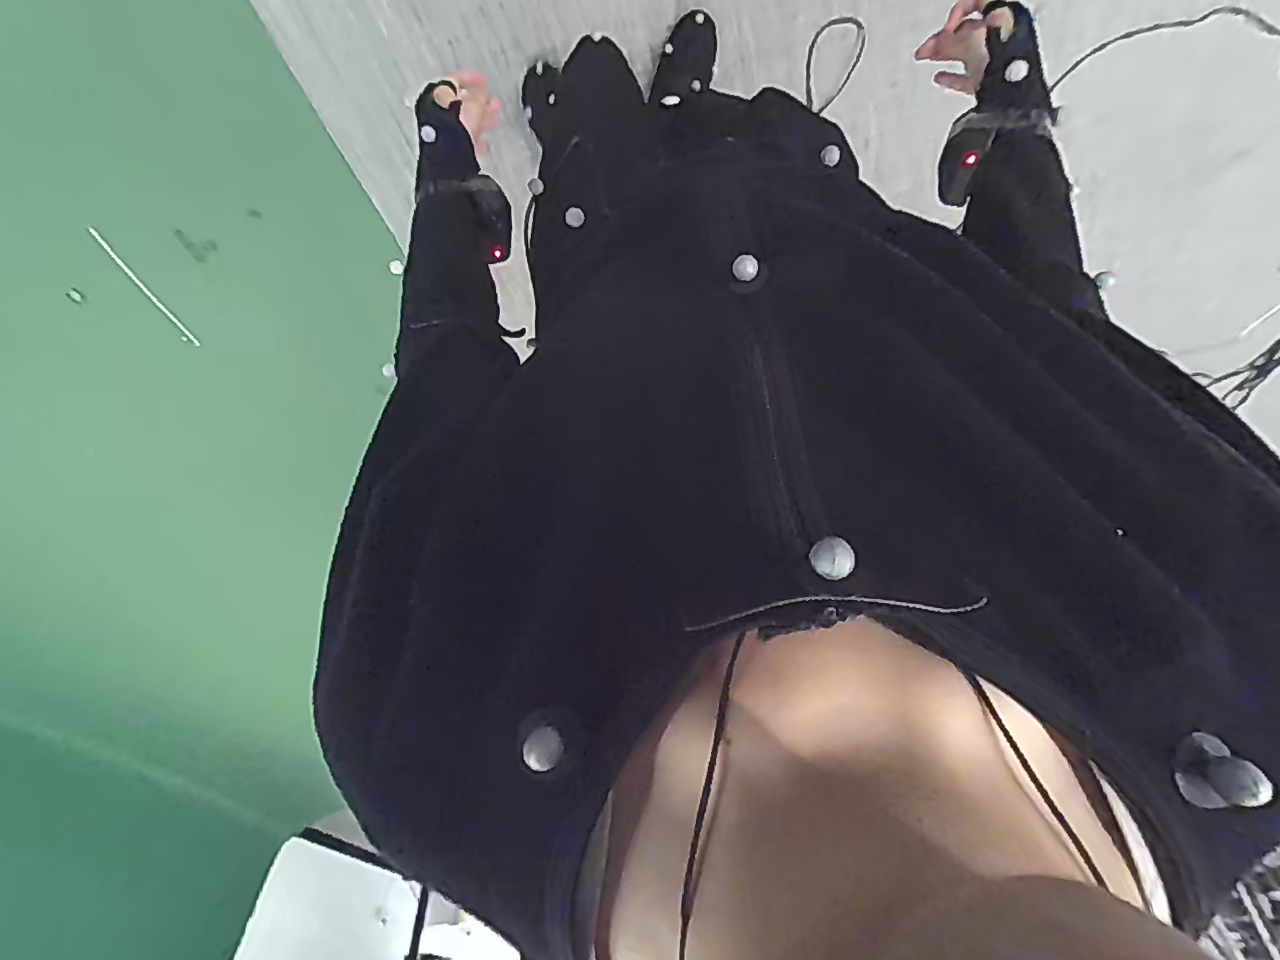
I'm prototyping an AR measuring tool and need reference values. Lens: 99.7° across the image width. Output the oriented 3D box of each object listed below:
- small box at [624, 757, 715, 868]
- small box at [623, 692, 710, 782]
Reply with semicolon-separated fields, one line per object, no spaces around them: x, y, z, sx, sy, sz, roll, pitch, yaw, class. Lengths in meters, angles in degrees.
0.066;0.750;1.223;0.168;0.176;0.179;-14;131;8;small box
0.062;0.655;1.358;0.179;0.176;0.168;-15;130;10;small box
